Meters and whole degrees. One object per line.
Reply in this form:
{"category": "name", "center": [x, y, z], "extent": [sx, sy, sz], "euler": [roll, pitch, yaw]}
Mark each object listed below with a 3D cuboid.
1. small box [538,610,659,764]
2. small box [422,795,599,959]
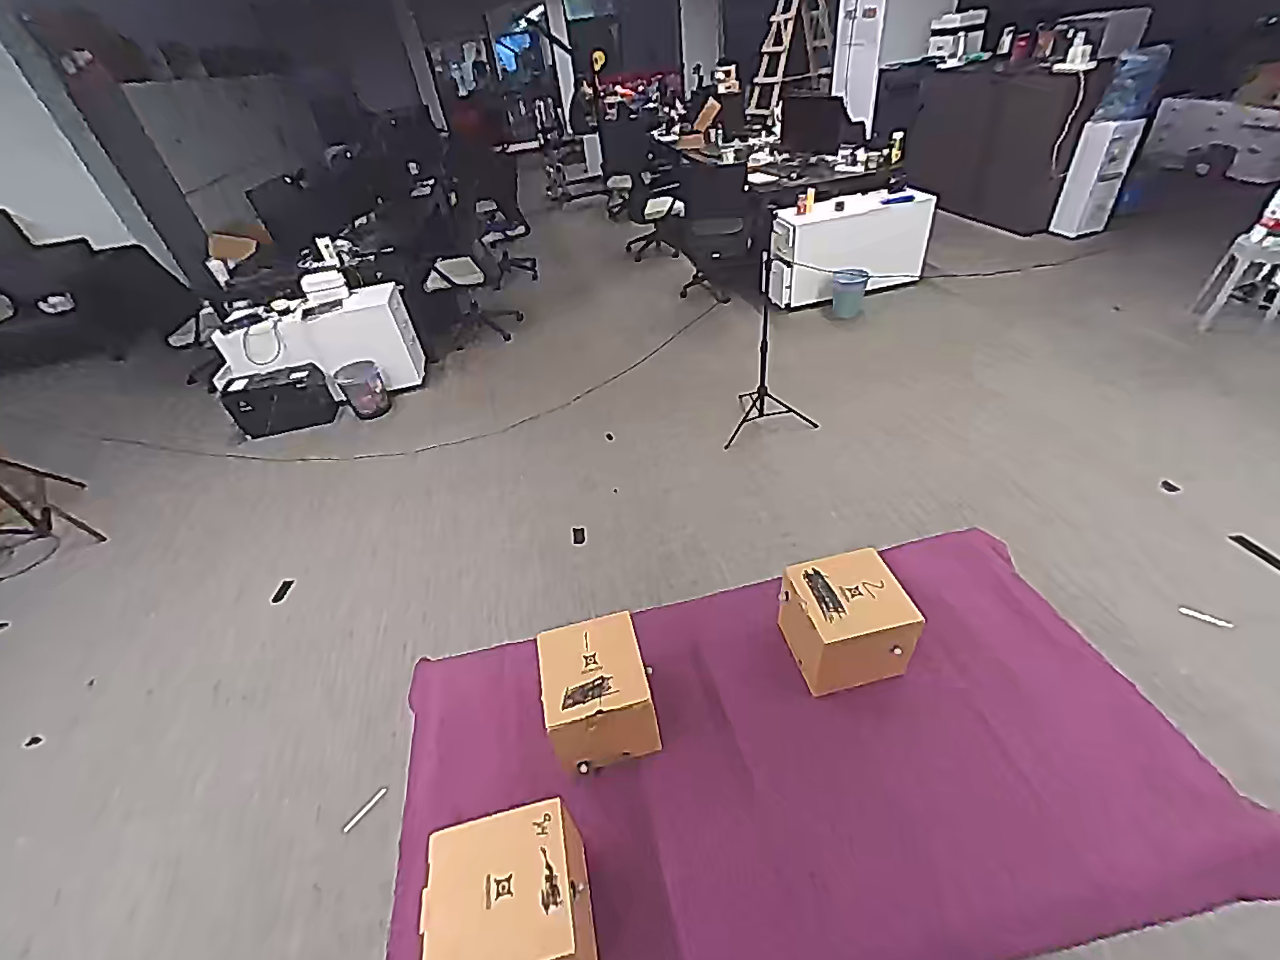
{"category": "small box", "center": [-0.070, 0.359, 0.925], "extent": [0.168, 0.176, 0.179], "euler": [-13, 39, -6]}
{"category": "small box", "center": [-0.162, 0.551, 0.706], "extent": [0.179, 0.176, 0.168], "euler": [-13, 40, -5]}
